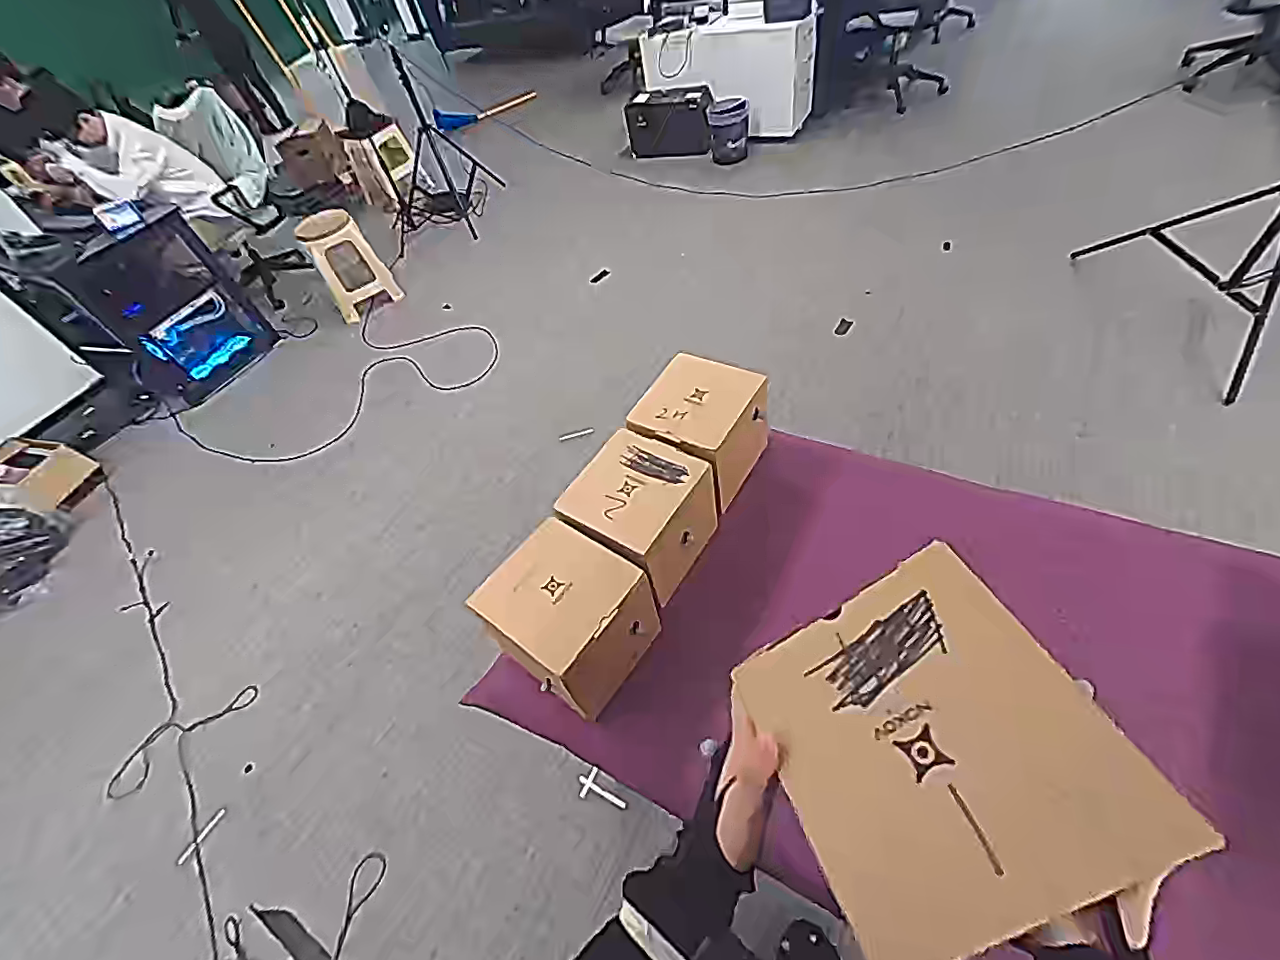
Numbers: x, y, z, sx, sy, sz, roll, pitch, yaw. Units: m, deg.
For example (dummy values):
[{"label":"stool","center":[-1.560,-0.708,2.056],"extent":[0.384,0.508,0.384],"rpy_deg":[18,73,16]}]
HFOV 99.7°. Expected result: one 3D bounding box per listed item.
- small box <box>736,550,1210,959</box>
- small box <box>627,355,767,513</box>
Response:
[{"label":"small box","center":[0.197,0.184,0.360],"extent":[0.168,0.176,0.179],"rpy_deg":[-37,46,13]},{"label":"small box","center":[0.101,-0.078,0.918],"extent":[0.168,0.176,0.179],"rpy_deg":[23,60,27]}]
